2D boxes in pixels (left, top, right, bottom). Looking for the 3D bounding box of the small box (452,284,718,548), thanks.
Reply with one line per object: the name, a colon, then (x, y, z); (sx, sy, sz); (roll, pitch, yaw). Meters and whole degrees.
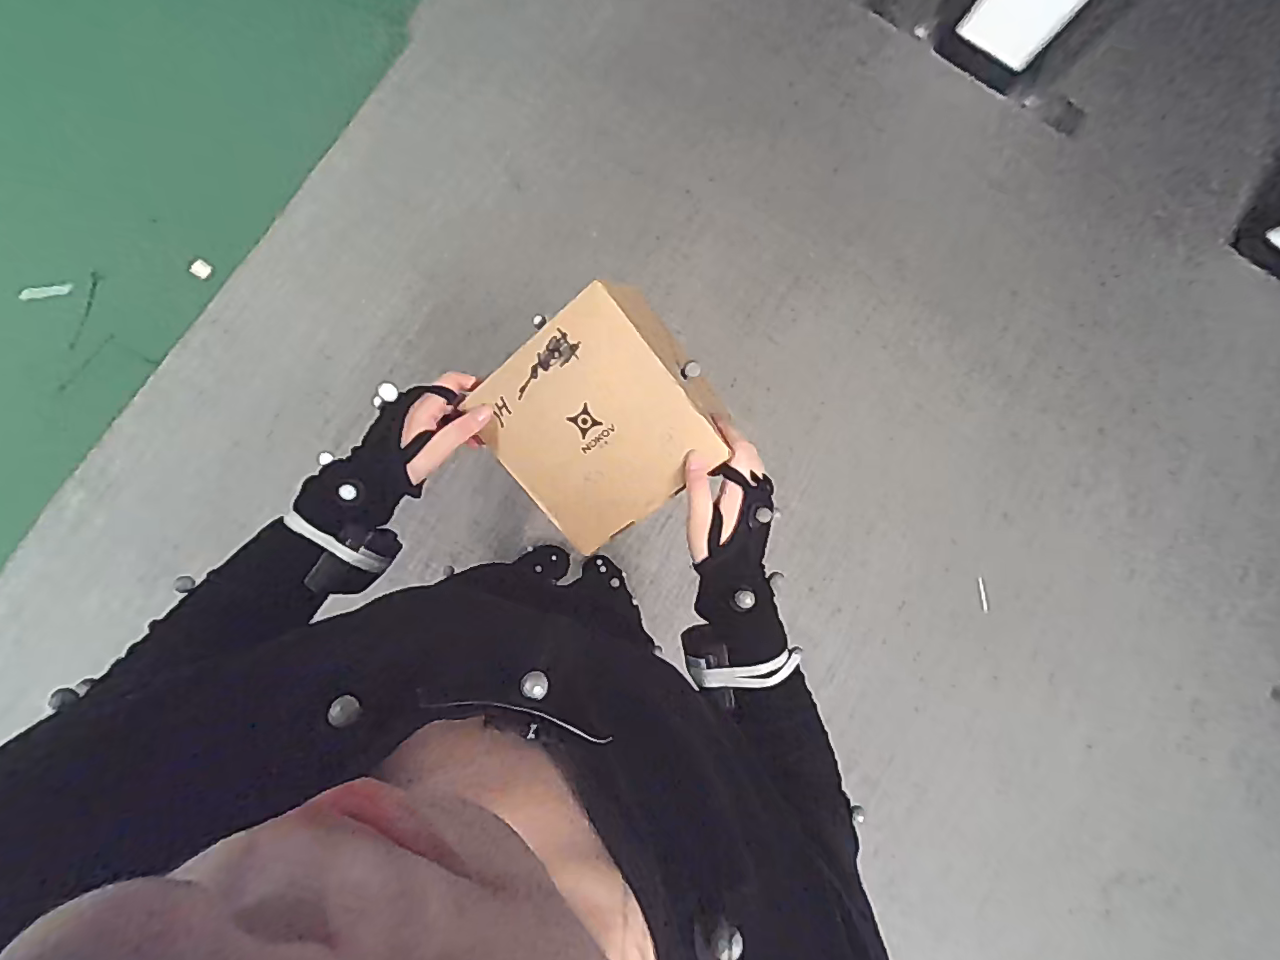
small box: (-0.036, -0.073, 0.528); (0.168, 0.176, 0.179); (-36, 101, 19)
